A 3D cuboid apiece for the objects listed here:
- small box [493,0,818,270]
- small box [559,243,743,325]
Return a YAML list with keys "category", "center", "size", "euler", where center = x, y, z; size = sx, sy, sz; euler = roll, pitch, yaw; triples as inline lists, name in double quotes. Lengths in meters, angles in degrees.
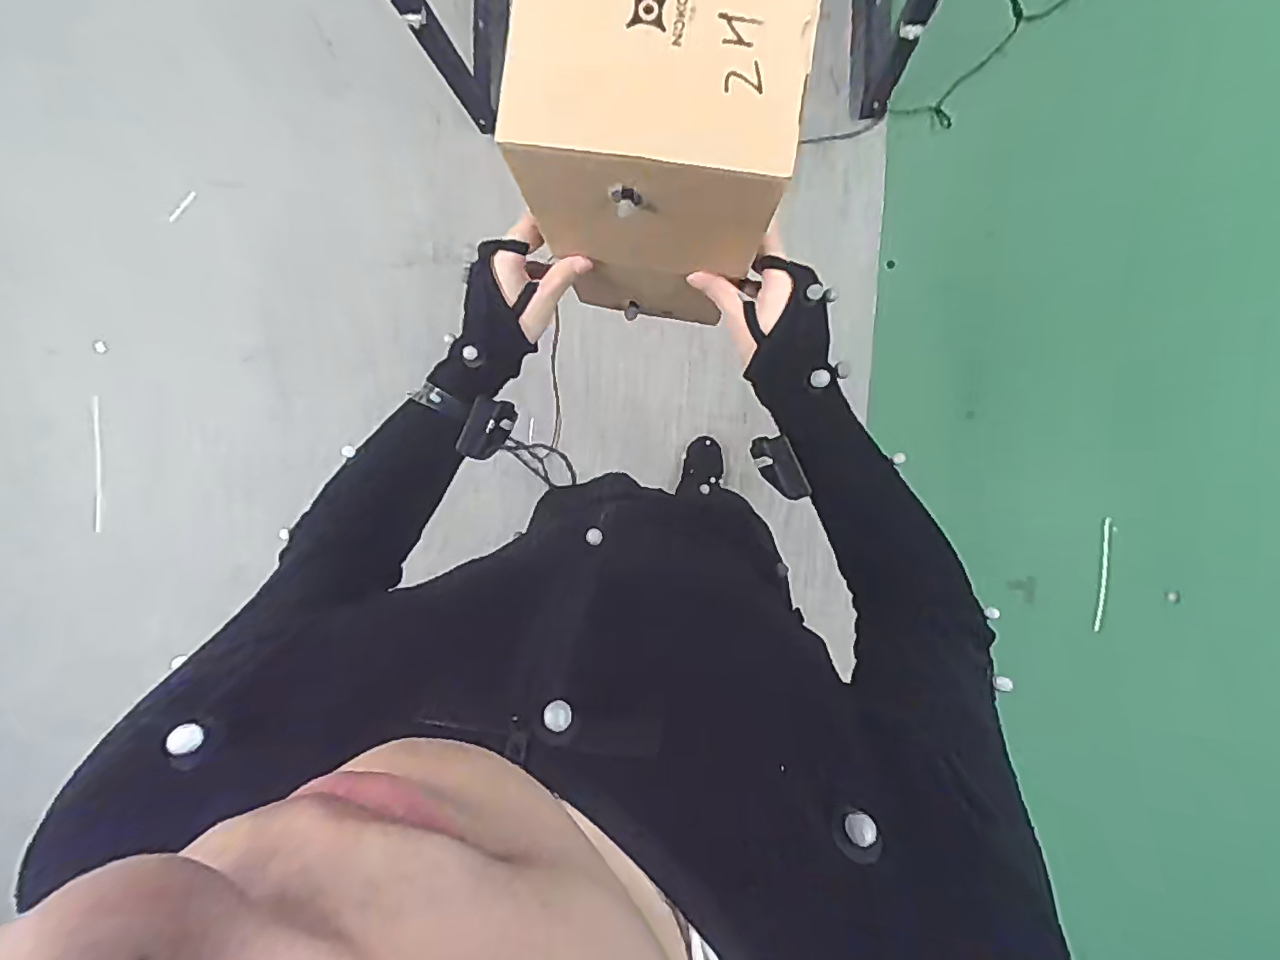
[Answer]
- category: "small box"
  center: [0.016, -0.266, 0.385]
  size: [0.179, 0.176, 0.168]
  euler: [8, 92, 2]
- category: "small box"
  center: [0.022, -0.275, 0.549]
  size: [0.168, 0.176, 0.179]
  euler: [9, 92, 2]
